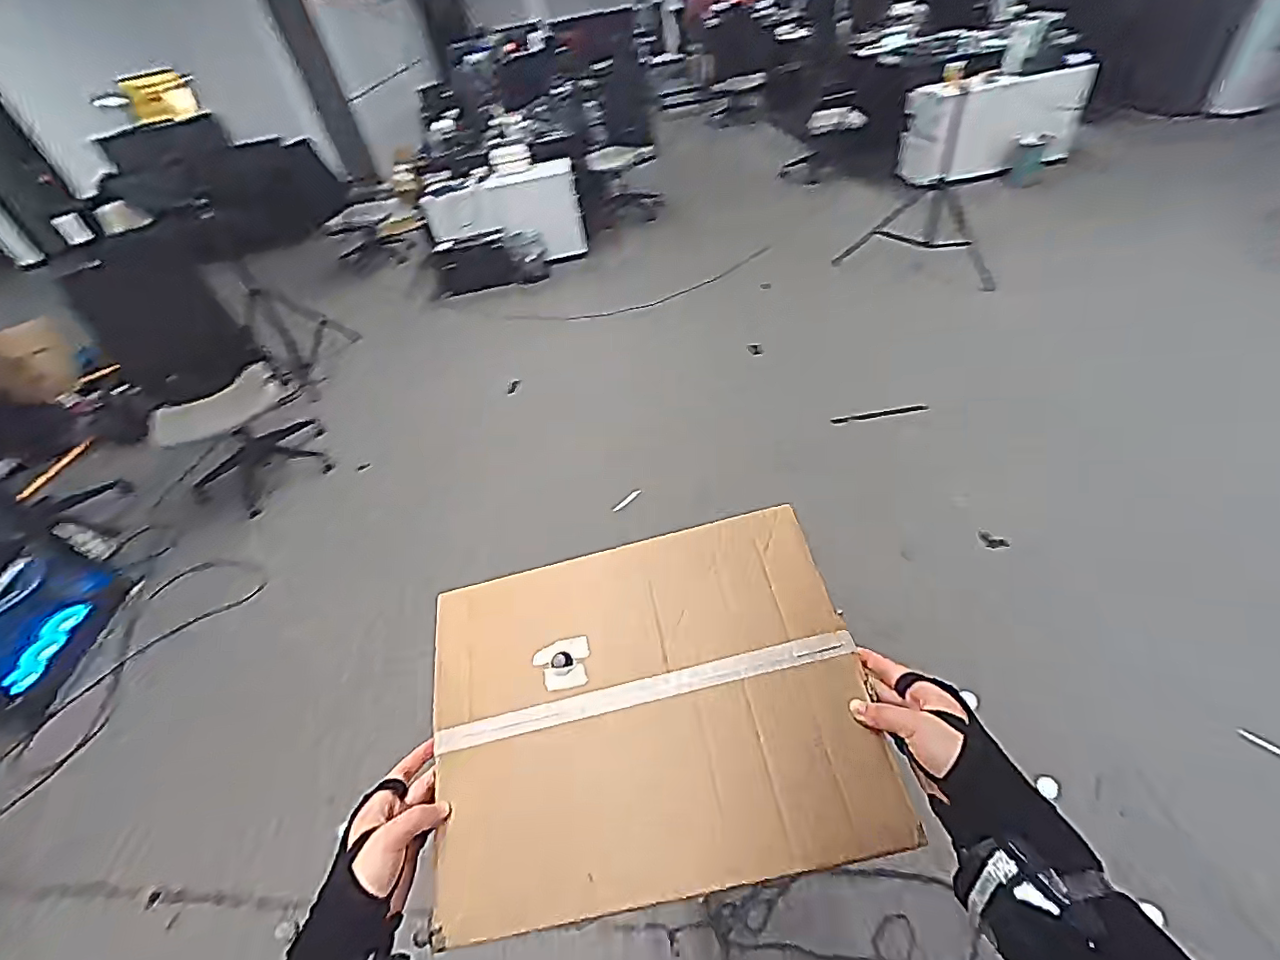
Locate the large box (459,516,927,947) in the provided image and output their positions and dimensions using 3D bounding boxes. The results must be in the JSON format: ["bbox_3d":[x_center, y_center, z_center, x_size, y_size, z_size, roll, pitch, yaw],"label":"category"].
[{"bbox_3d":[0.044,0.291,0.646,0.408,0.320,0.320,-15,55,4],"label":"large box"}]
